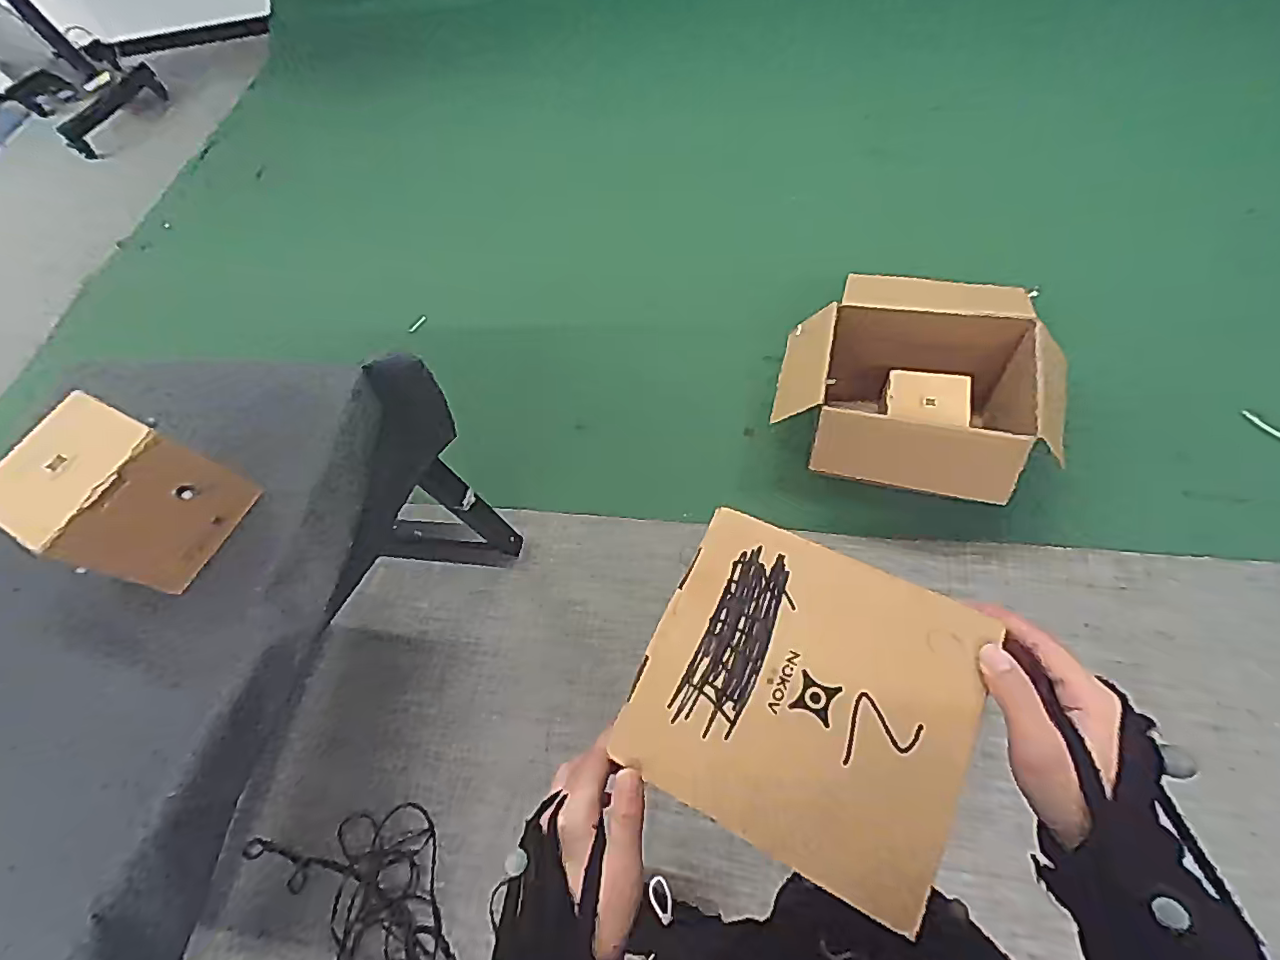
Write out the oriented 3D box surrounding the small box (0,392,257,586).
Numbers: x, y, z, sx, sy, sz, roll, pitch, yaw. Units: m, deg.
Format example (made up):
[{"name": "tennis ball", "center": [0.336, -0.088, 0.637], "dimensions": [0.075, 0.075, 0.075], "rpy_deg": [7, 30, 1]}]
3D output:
[{"name": "small box", "center": [-0.655, 0.020, 0.696], "dimensions": [0.179, 0.176, 0.168], "rpy_deg": [20, 67, 22]}]
